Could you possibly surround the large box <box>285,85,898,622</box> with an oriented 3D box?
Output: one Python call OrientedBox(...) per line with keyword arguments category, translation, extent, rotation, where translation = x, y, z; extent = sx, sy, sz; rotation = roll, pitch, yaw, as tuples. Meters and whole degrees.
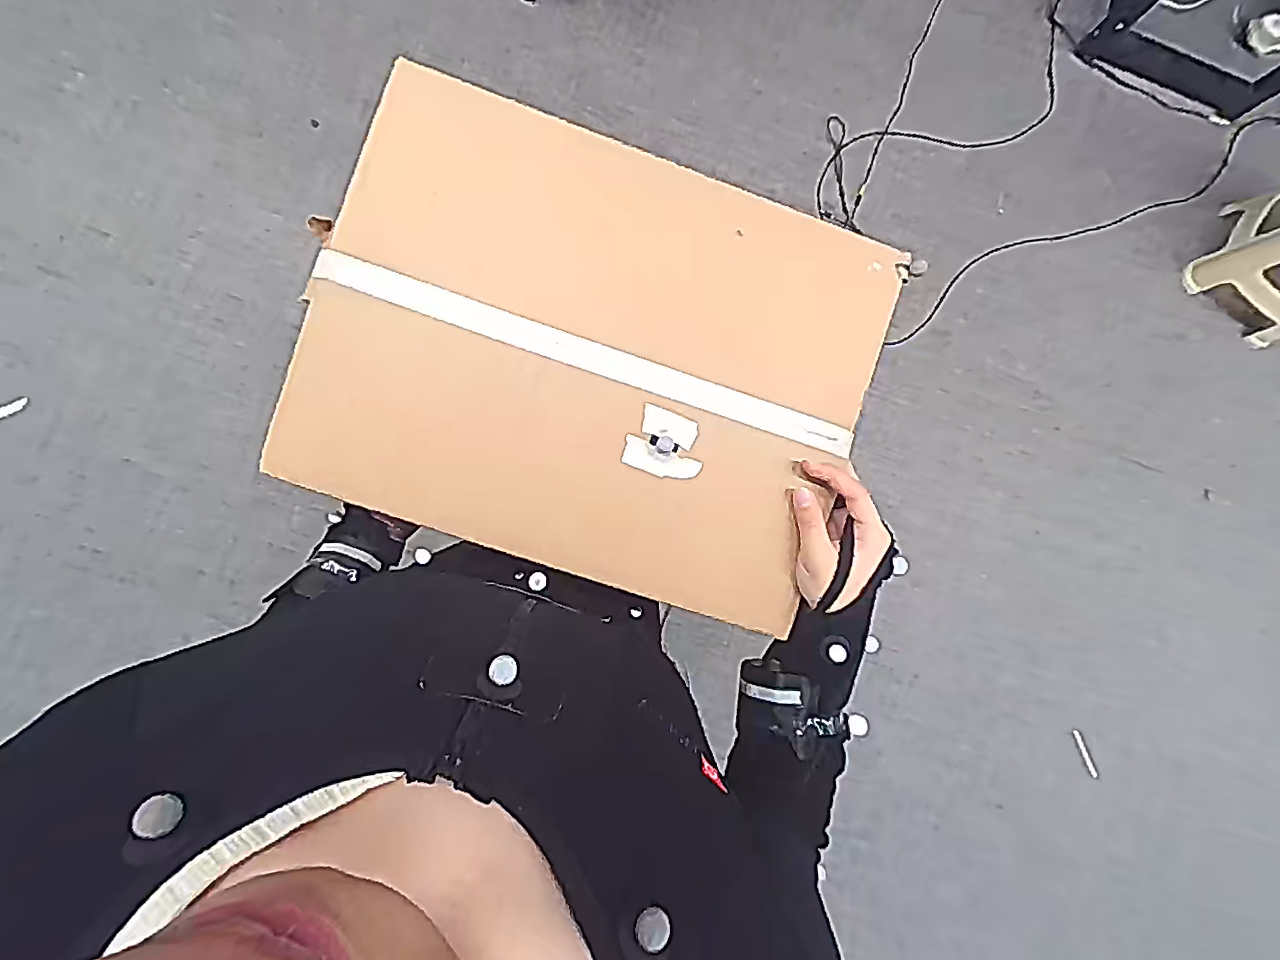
OrientedBox(category="large box", translation=(-0.040, -0.090, 0.556), extent=(0.408, 0.320, 0.320), rotation=(18, 90, -5))
